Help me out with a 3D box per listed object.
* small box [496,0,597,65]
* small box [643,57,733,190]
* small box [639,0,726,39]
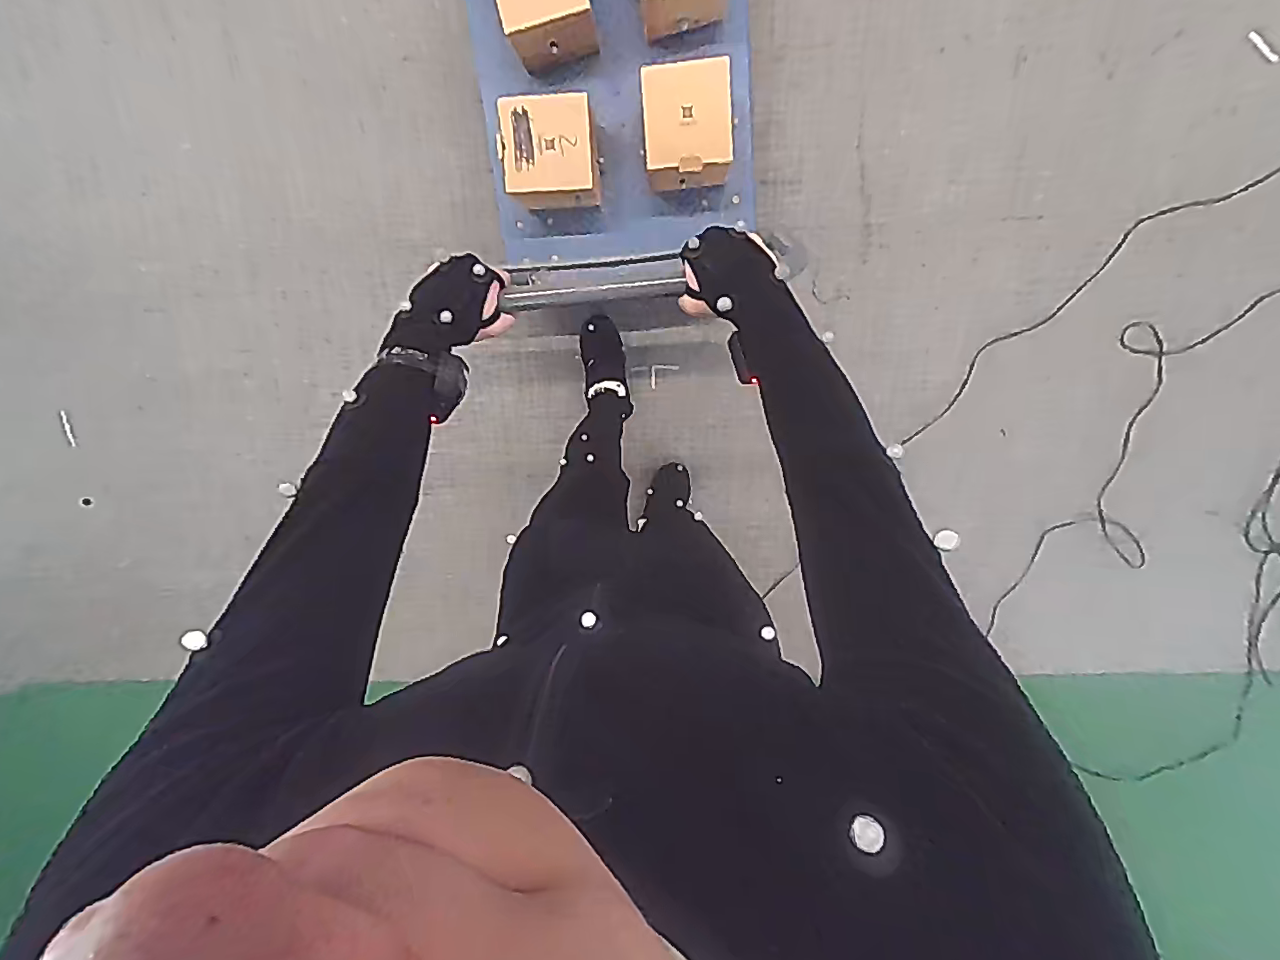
[{"bbox_3d":[-0.185,-0.937,1.037,0.168,0.176,0.179,-12,106,5],"label":"small box"},{"bbox_3d":[0.094,-0.709,1.093,0.168,0.176,0.179,-4,107,4],"label":"small box"},{"bbox_3d":[0.070,-0.983,1.012,0.168,0.176,0.179,-11,106,6],"label":"small box"}]
